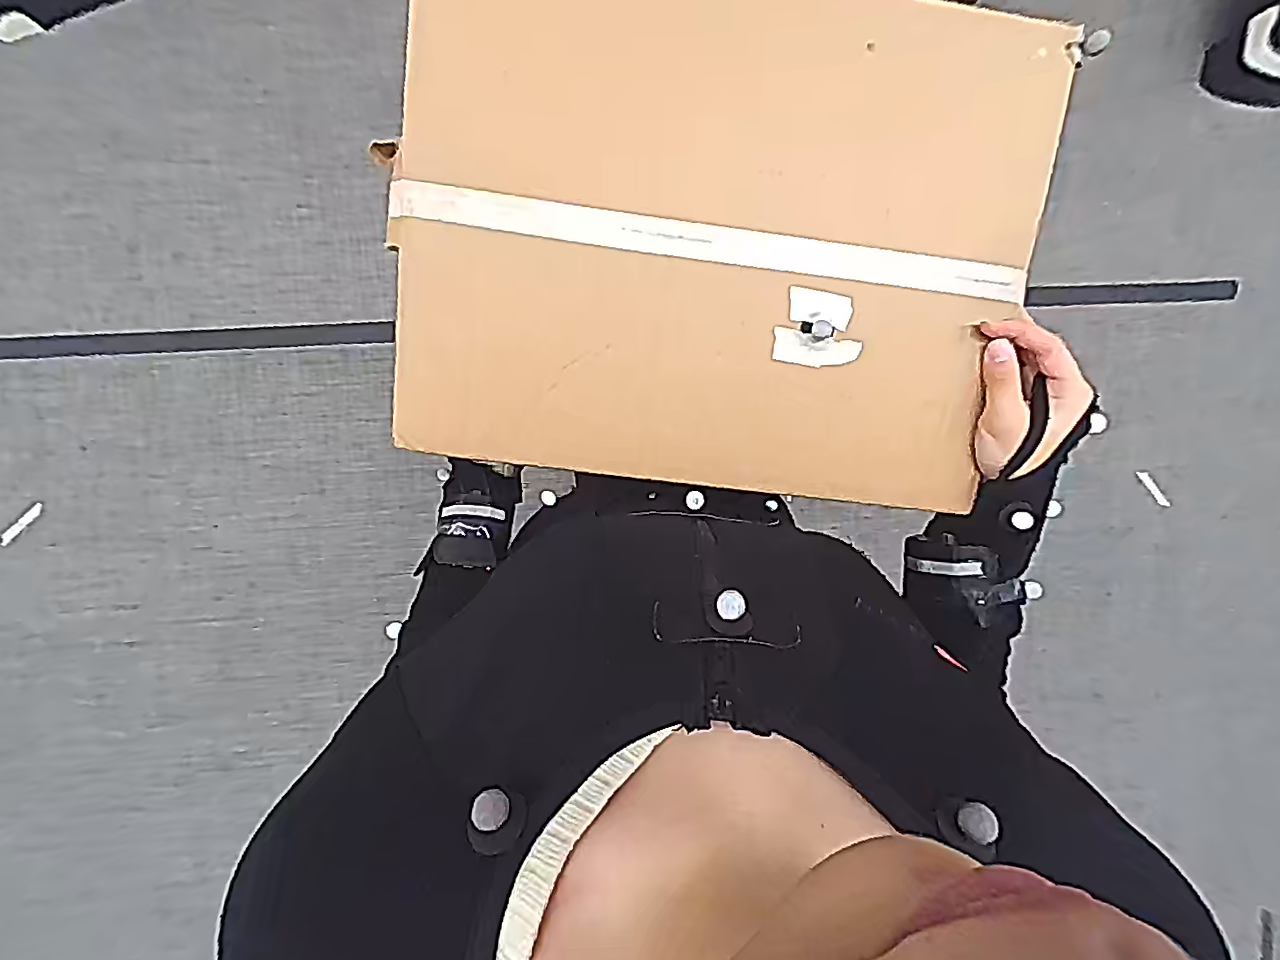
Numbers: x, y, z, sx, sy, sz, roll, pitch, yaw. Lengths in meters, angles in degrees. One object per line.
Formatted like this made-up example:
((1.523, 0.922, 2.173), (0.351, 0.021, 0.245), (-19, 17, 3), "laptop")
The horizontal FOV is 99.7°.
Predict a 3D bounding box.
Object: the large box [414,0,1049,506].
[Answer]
((0.044, -0.171, 0.504), (0.408, 0.320, 0.320), (6, 100, -5), "large box")
